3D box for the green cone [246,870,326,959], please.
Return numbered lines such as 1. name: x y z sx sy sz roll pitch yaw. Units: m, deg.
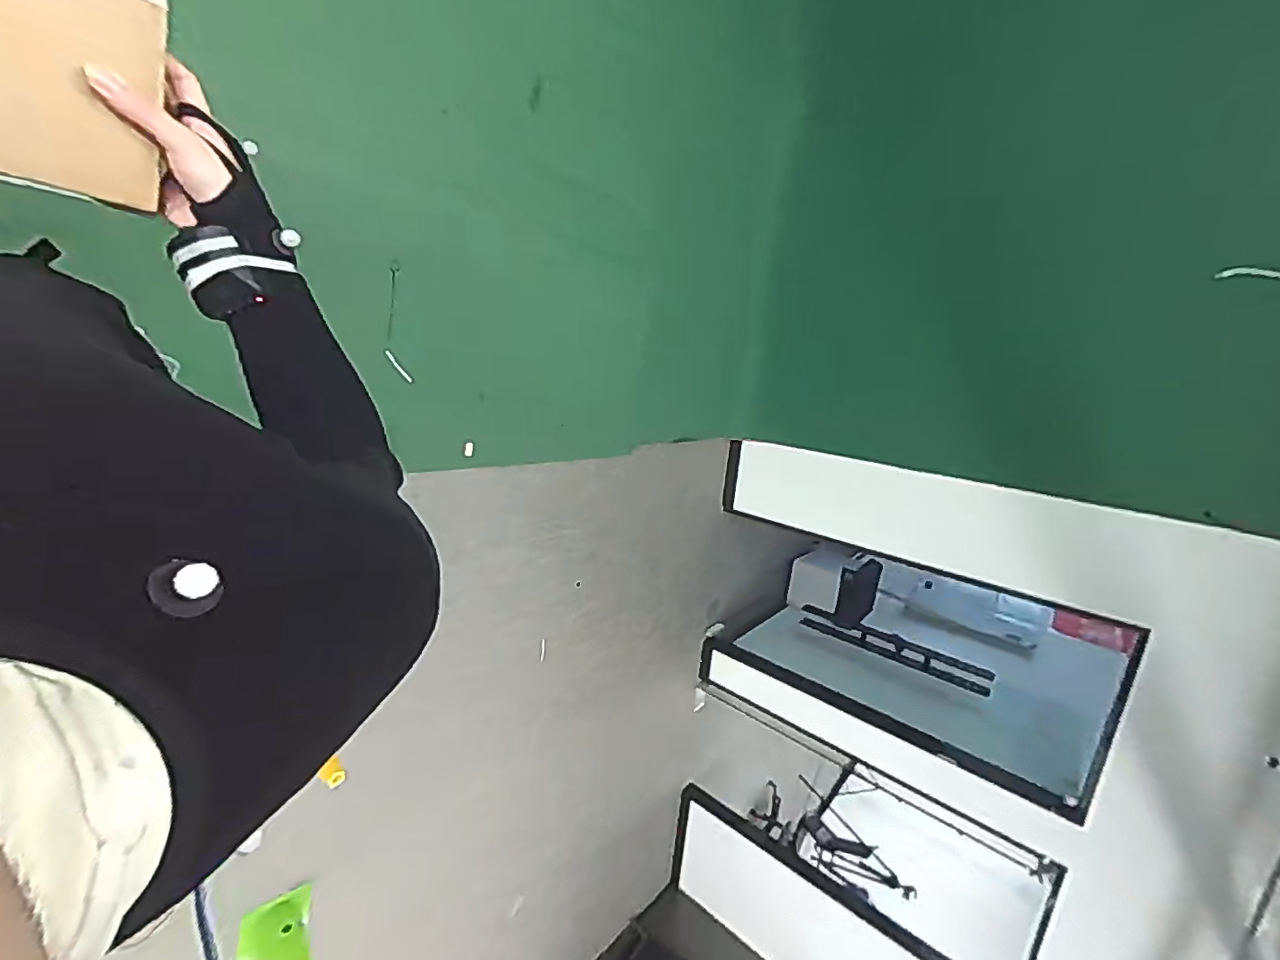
1. green cone: -1.054 1.462 1.690 0.200 0.368 0.202 -1 103 -52
